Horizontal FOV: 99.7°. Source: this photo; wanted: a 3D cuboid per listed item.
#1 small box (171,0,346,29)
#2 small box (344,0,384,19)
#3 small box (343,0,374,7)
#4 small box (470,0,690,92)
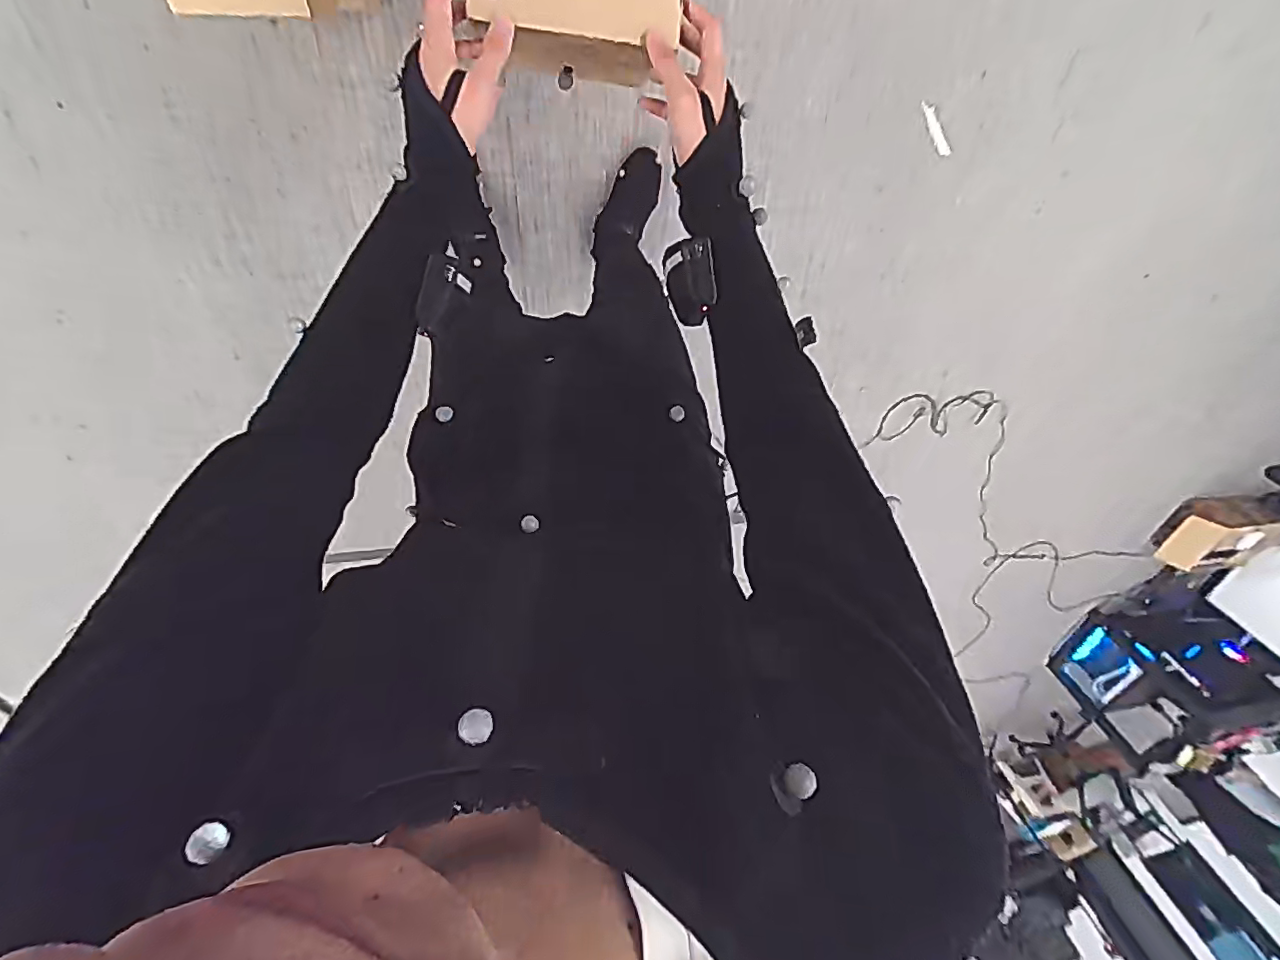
[{"bbox_3d":[-0.505,-0.697,0.693,0.168,0.176,0.179,-5,130,-8],"label":"small box"},{"bbox_3d":[-0.562,-0.915,0.932,0.168,0.176,0.179,-8,130,-7],"label":"small box"},{"bbox_3d":[-0.519,-0.818,0.806,0.179,0.176,0.168,-8,130,-6],"label":"small box"},{"bbox_3d":[-0.056,-0.463,0.476,0.179,0.176,0.168,0,116,-13],"label":"small box"}]
